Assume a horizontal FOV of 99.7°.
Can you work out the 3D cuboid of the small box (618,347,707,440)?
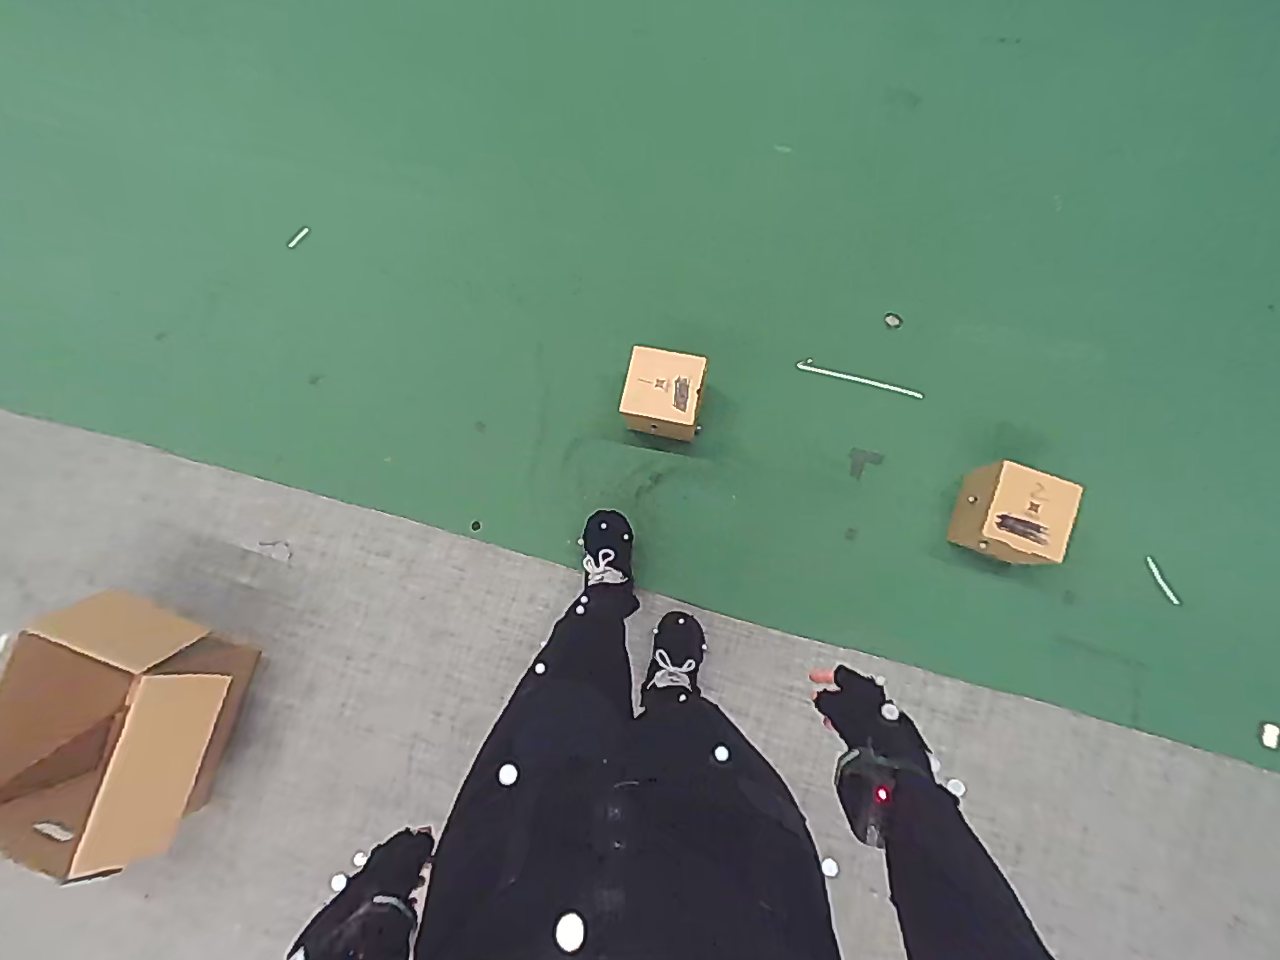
[{"bbox_3d":[0.058,-0.202,1.313,0.179,0.176,0.168,12,82,7],"label":"small box"}]
